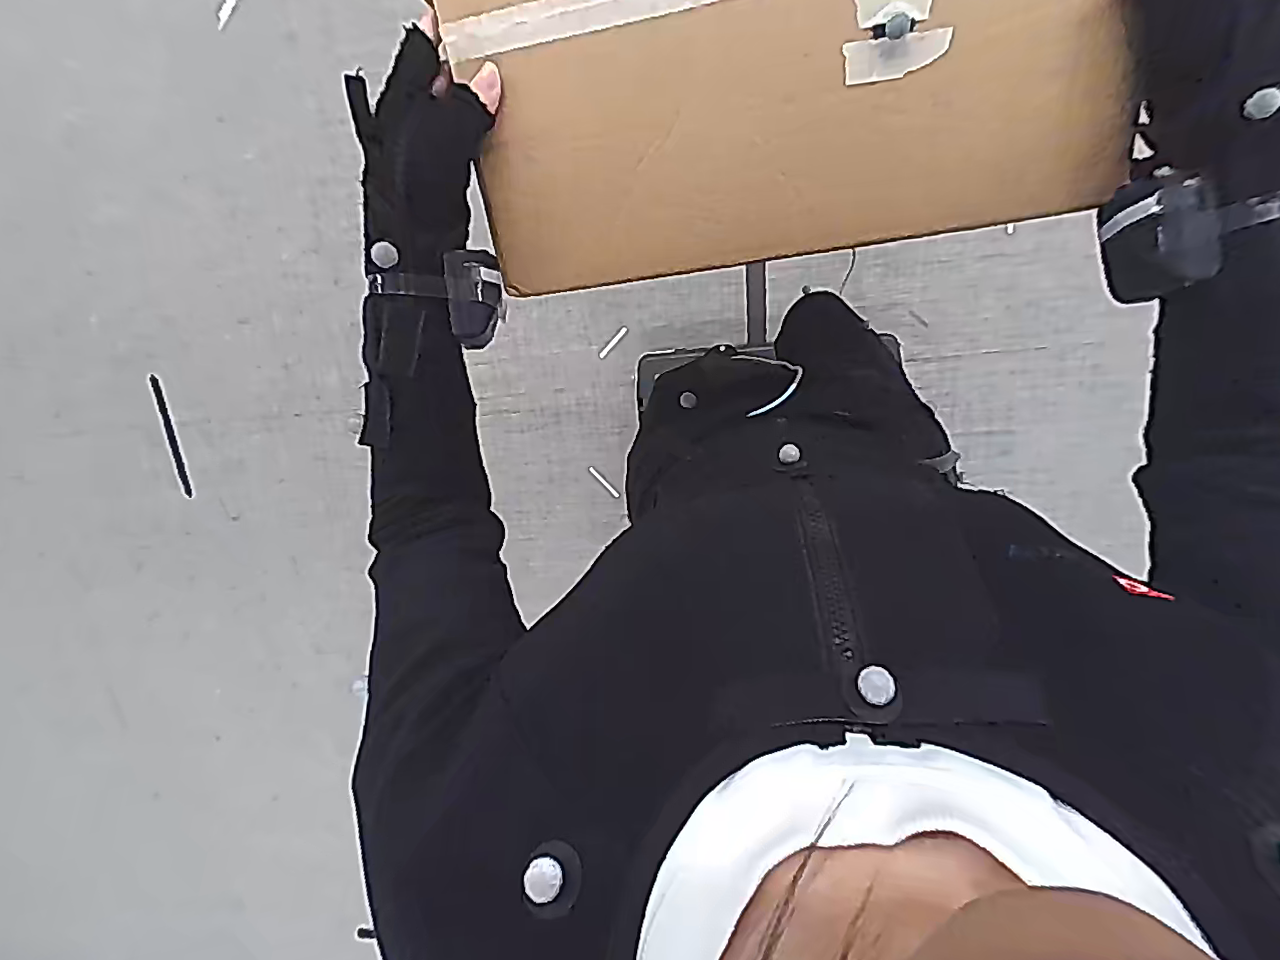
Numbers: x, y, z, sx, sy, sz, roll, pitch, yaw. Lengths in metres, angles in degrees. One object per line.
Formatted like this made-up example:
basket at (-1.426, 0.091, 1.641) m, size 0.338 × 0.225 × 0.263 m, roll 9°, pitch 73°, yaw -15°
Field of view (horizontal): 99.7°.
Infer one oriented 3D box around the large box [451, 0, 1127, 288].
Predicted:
large box at (0.093, -0.365, 0.457) m, size 0.408 × 0.320 × 0.320 m, roll -5°, pitch 114°, yaw 10°
